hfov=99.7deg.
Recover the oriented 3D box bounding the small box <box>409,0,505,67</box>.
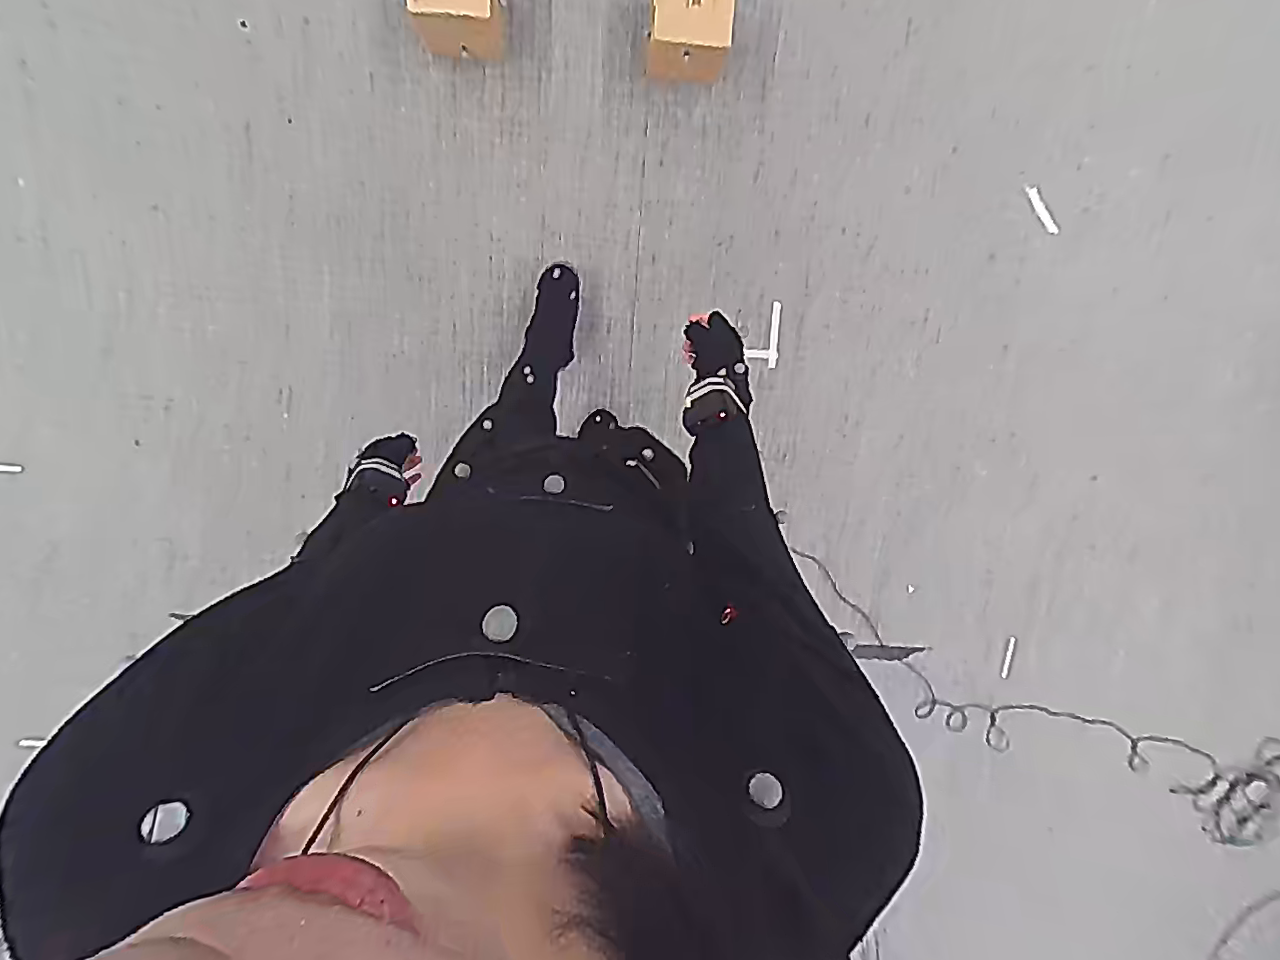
[{"bbox_3d":[-0.399,-1.058,1.202,0.179,0.176,0.168,2,101,-5],"label":"small box"}]

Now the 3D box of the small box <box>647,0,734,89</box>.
[{"bbox_3d":[0.110,-1.035,1.244,0.179,0.176,0.168,2,103,-6],"label":"small box"}]
